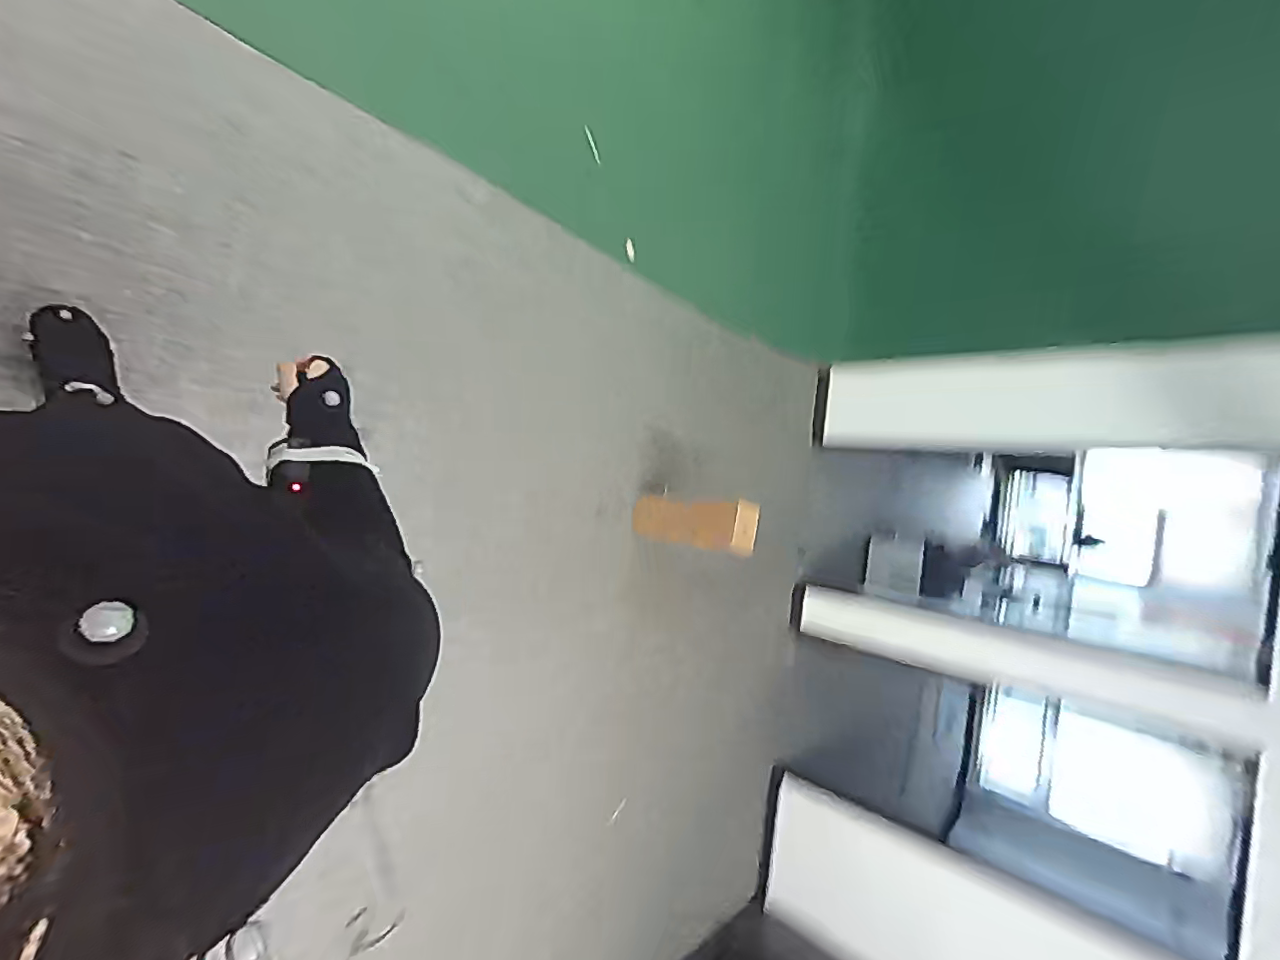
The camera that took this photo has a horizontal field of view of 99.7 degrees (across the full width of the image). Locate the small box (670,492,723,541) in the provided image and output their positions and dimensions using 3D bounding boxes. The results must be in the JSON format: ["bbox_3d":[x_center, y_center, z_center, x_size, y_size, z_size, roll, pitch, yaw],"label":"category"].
[{"bbox_3d":[0.239,0.146,2.191,0.168,0.176,0.179,12,85,-47],"label":"small box"}]

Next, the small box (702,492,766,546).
[{"bbox_3d":[0.360,0.146,2.081,0.168,0.176,0.179,17,82,-47],"label":"small box"}]
